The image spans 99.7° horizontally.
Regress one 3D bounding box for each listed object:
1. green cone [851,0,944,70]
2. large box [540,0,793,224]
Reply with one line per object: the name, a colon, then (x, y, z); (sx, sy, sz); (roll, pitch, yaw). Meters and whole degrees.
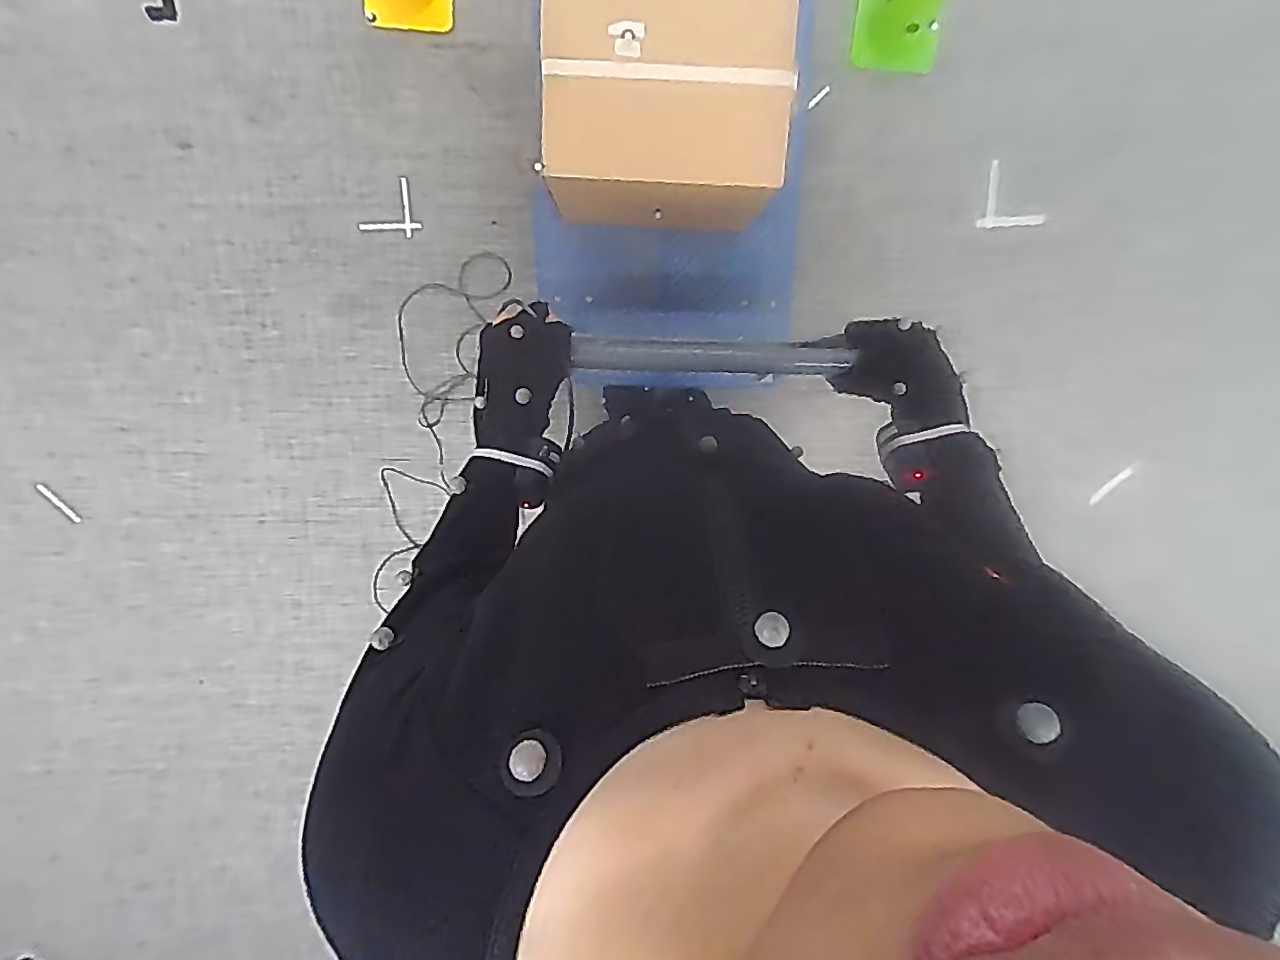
green cone: (0.607, -1.042, 1.097); (0.202, 0.368, 0.200); (3, 102, -3)
large box: (0.039, -0.681, 1.015); (0.408, 0.320, 0.320); (2, 102, -1)
